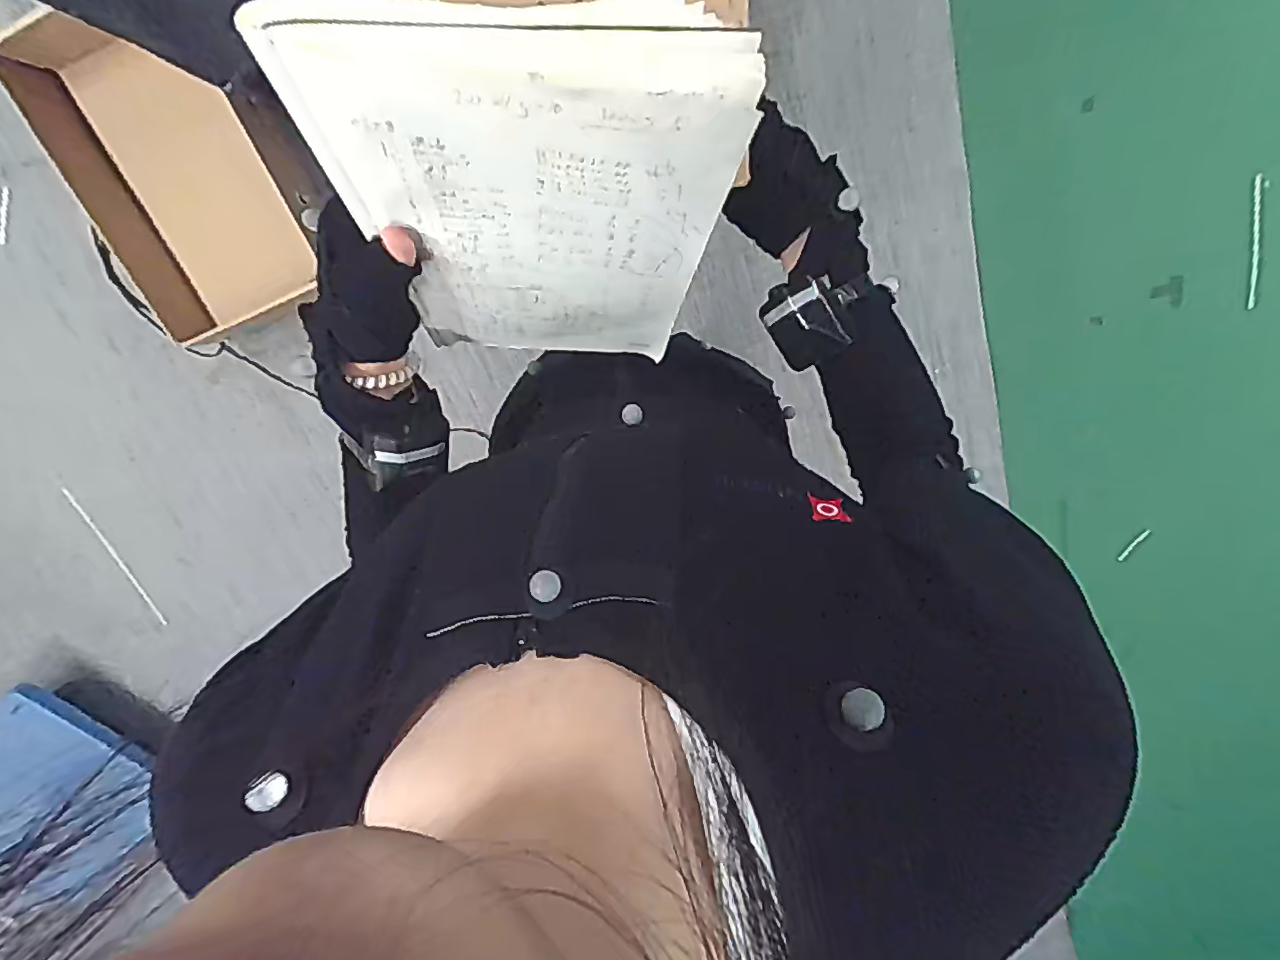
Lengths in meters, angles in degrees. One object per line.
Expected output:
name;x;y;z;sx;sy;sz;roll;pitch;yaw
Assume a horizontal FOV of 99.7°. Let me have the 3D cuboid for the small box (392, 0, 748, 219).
small box;-0.038;-0.269;0.339;0.179;0.176;0.168;-7;119;1
